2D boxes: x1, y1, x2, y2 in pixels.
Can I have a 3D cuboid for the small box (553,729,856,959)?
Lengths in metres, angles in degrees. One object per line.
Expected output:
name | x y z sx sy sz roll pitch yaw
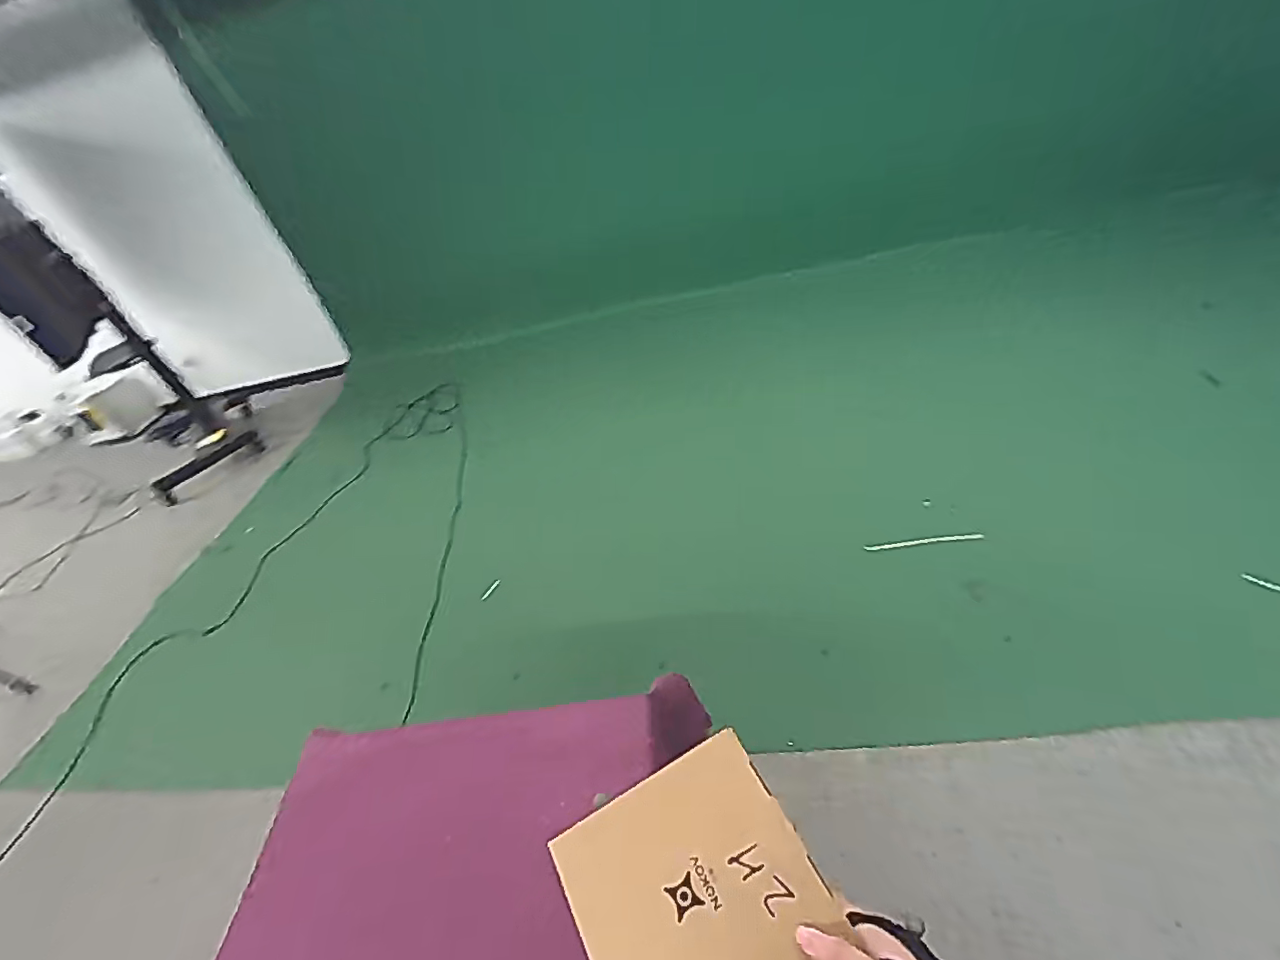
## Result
small box | 0.052 0.352 0.467 0.179 0.176 0.168 -27 55 -10
